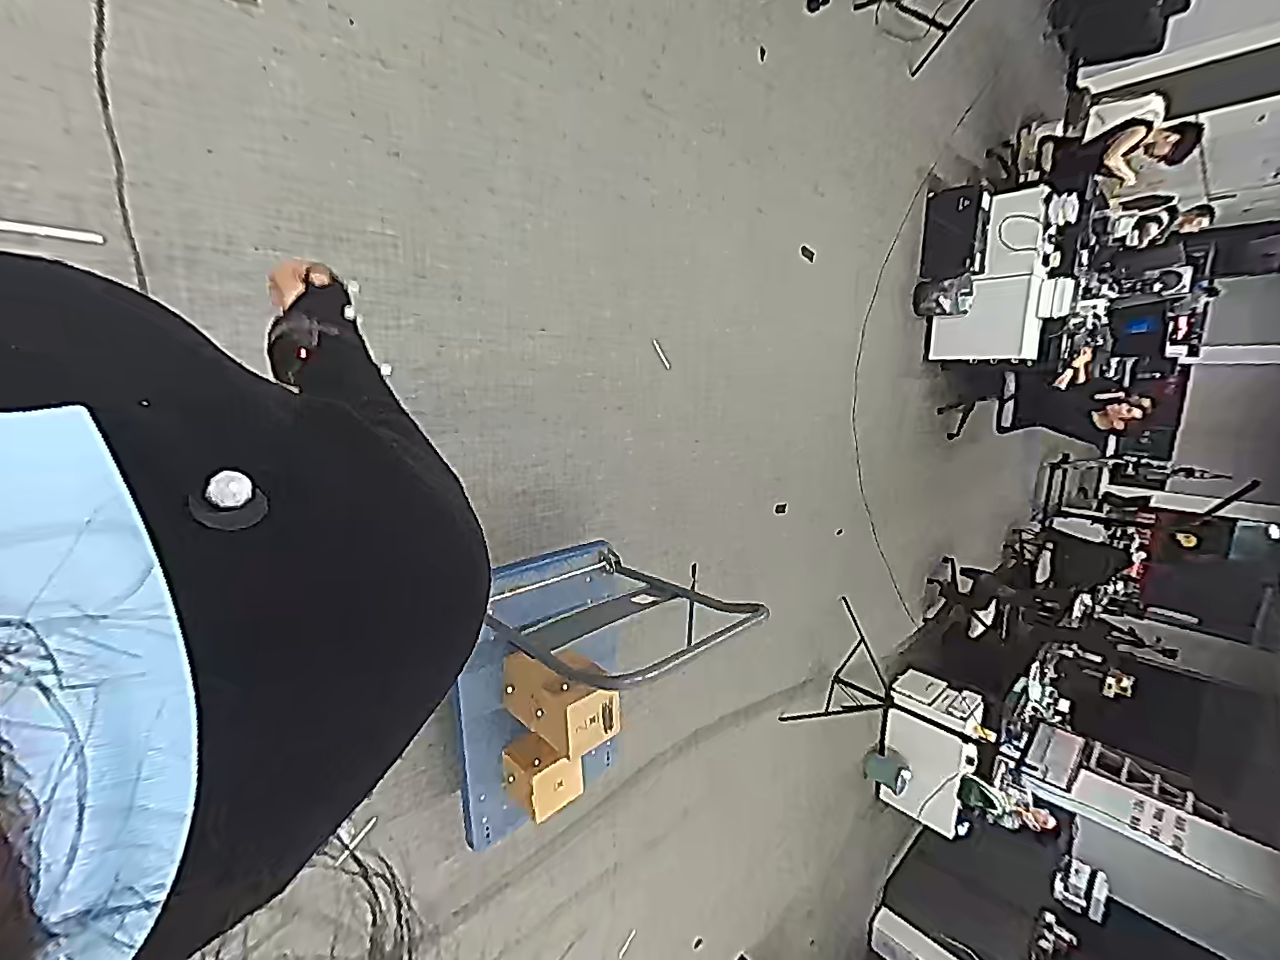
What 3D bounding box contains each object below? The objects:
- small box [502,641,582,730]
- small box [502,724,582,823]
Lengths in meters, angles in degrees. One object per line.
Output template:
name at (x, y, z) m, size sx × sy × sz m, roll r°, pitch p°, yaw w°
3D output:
small box at (-0.291, 0.599, 1.607) m, size 0.179 × 0.176 × 0.168 m, roll -7°, pitch 102°, yaw -43°
small box at (-0.301, 0.889, 1.660) m, size 0.179 × 0.176 × 0.168 m, roll -15°, pitch 108°, yaw -41°
